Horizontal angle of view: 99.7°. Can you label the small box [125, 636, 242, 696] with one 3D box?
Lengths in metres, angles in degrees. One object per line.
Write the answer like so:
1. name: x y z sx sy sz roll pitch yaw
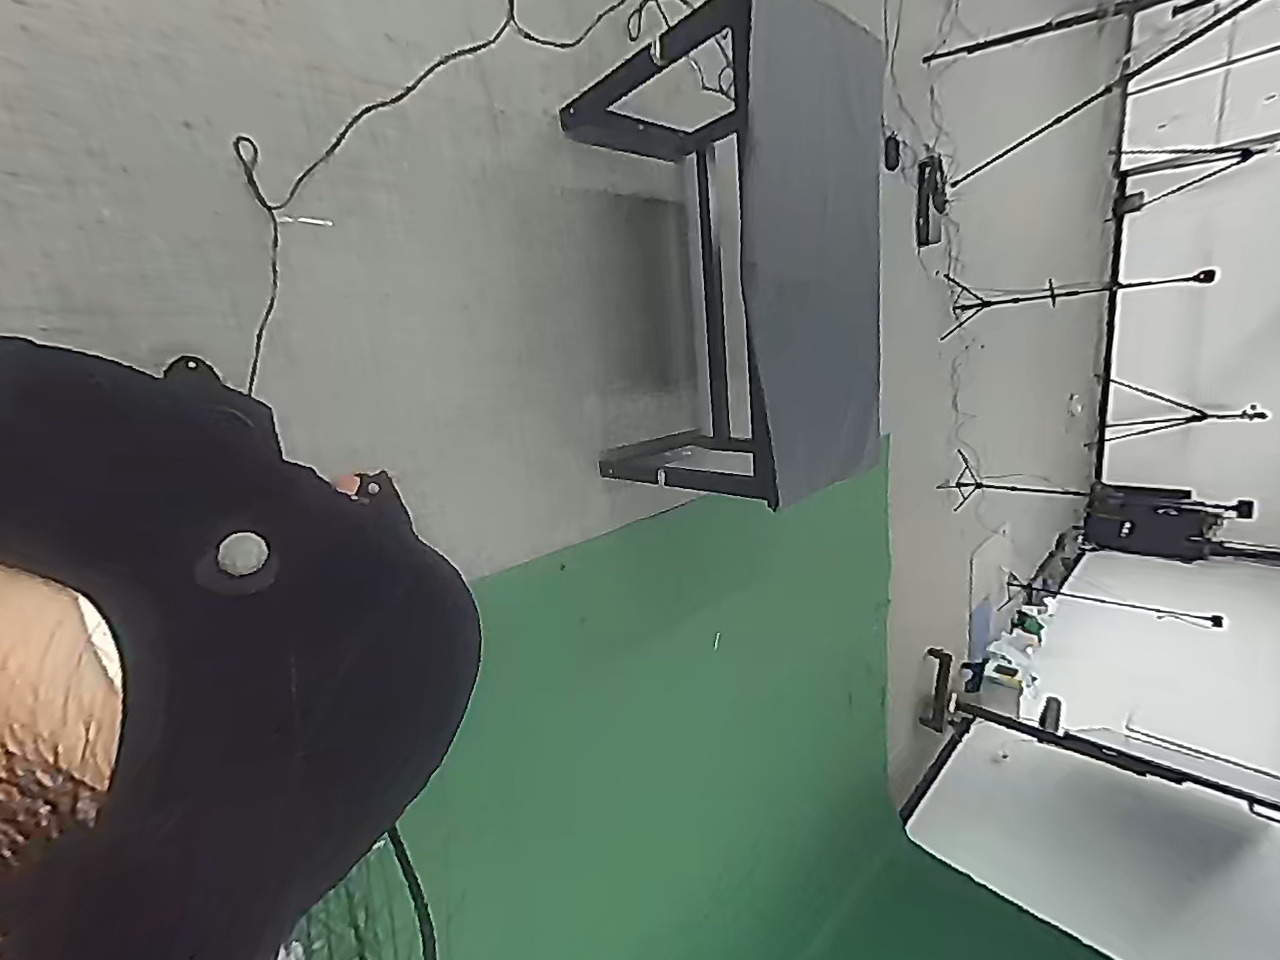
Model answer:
1. small box: -0.916 0.433 1.094 0.168 0.176 0.179 -12 102 -41
